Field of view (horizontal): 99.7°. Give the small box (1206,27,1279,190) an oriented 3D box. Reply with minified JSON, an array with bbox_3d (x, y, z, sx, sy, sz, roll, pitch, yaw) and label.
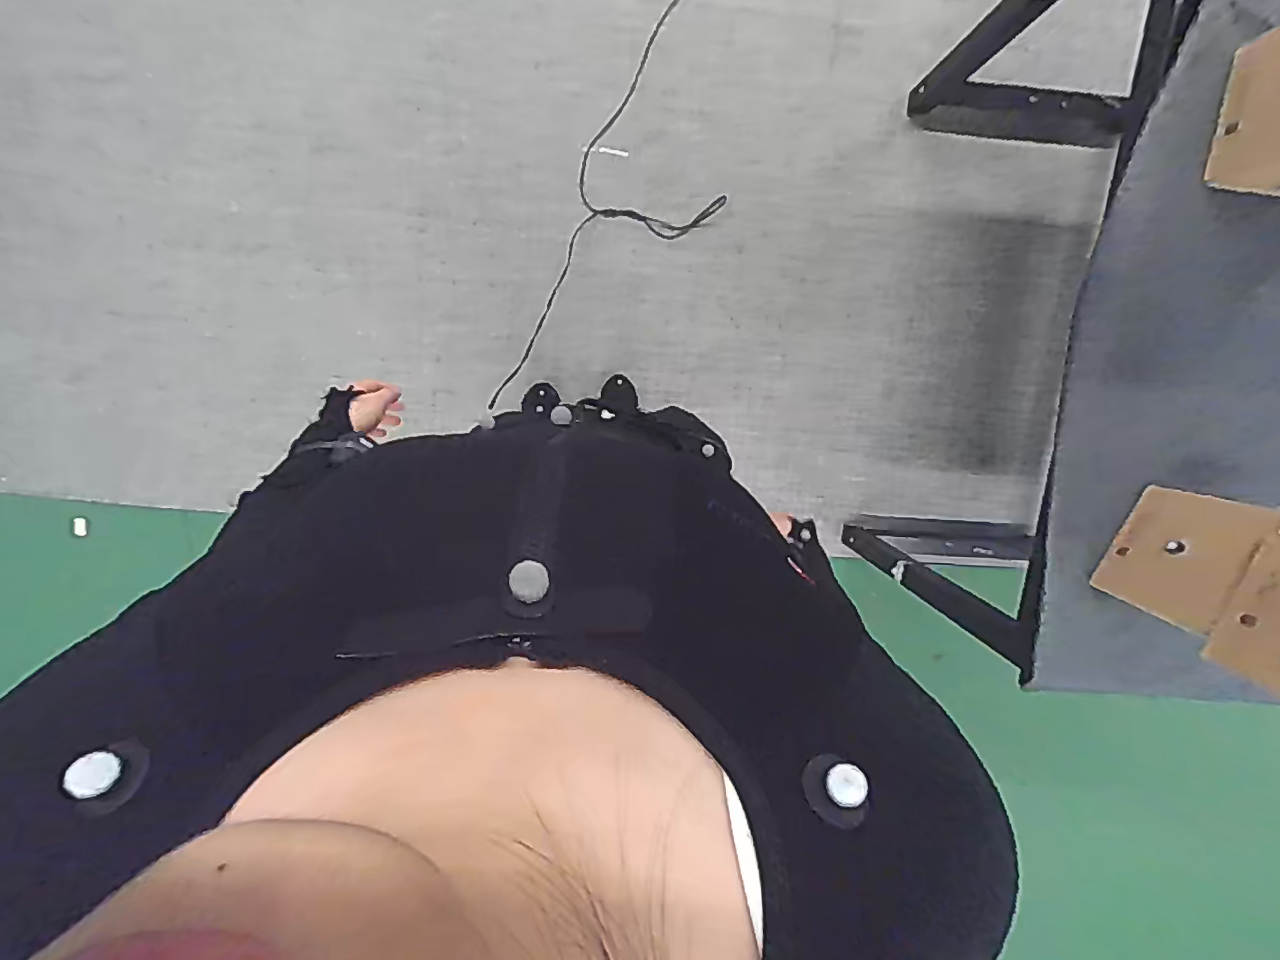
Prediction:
[{"bbox_3d":[0.829,-0.448,0.615,0.179,0.176,0.168,4,100,-4],"label":"small box"}]

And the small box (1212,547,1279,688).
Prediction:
[{"bbox_3d":[0.774,0.172,0.556,0.179,0.176,0.168,19,100,-8],"label":"small box"}]

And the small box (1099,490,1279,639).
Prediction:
[{"bbox_3d":[0.777,0.125,0.713,0.179,0.176,0.168,24,99,-9],"label":"small box"}]
